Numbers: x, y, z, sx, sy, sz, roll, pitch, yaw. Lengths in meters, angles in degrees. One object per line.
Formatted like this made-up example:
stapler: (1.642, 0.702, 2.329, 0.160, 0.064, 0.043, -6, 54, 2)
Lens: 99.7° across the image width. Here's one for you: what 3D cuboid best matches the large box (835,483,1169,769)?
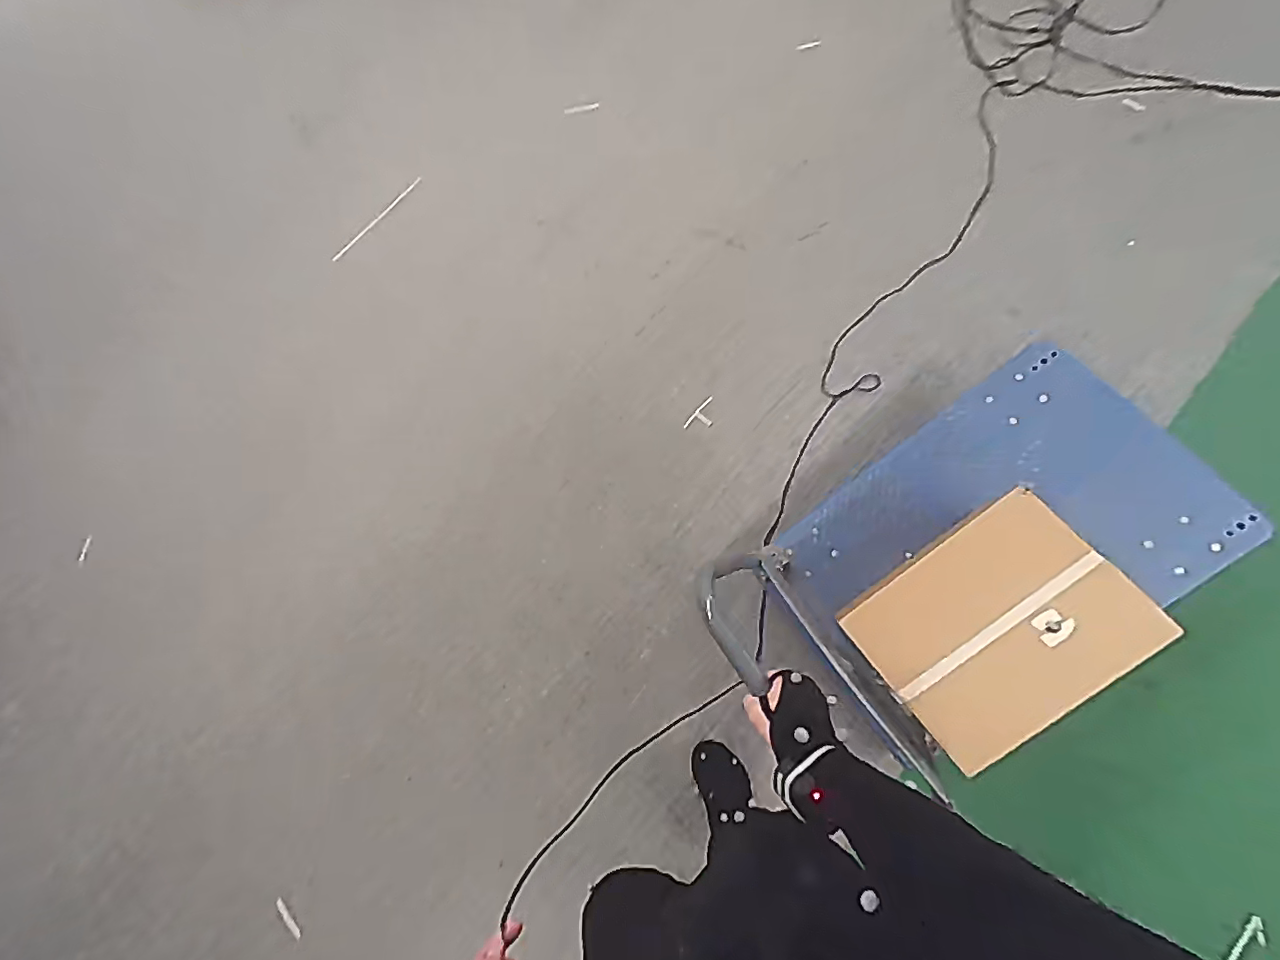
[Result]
large box: (0.643, 0.274, 1.060, 0.408, 0.320, 0.320, -39, 70, 7)
